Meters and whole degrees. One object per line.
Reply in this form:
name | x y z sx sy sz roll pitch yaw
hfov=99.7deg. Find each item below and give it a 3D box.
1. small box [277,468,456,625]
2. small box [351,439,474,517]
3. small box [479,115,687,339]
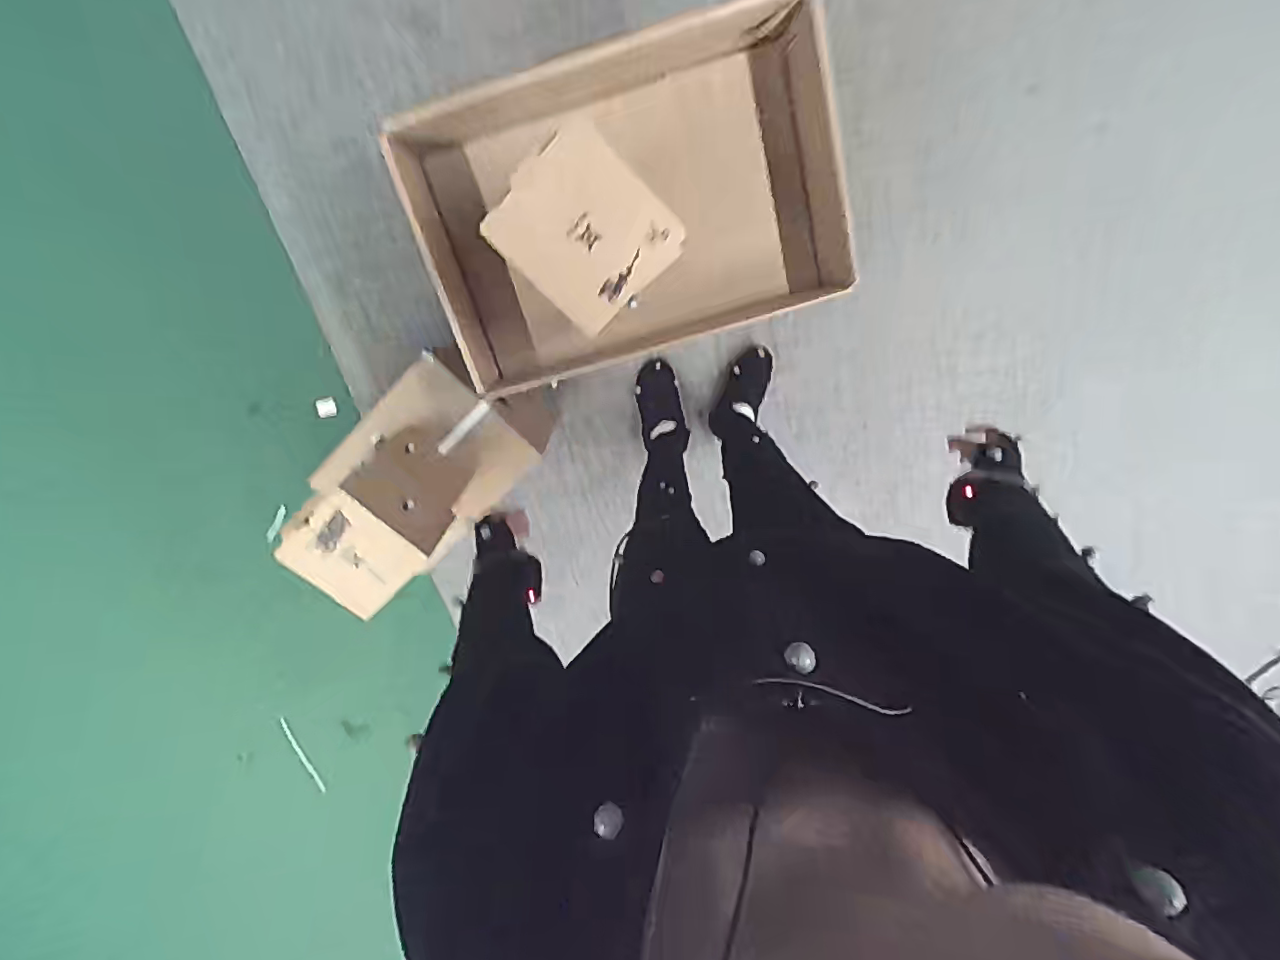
small box | -0.444 0.100 0.909 0.168 0.176 0.179 -42 106 12
small box | -0.458 0.038 1.061 0.179 0.176 0.168 40 104 -14
small box | -0.066 -0.298 0.679 0.179 0.176 0.168 42 102 -14
